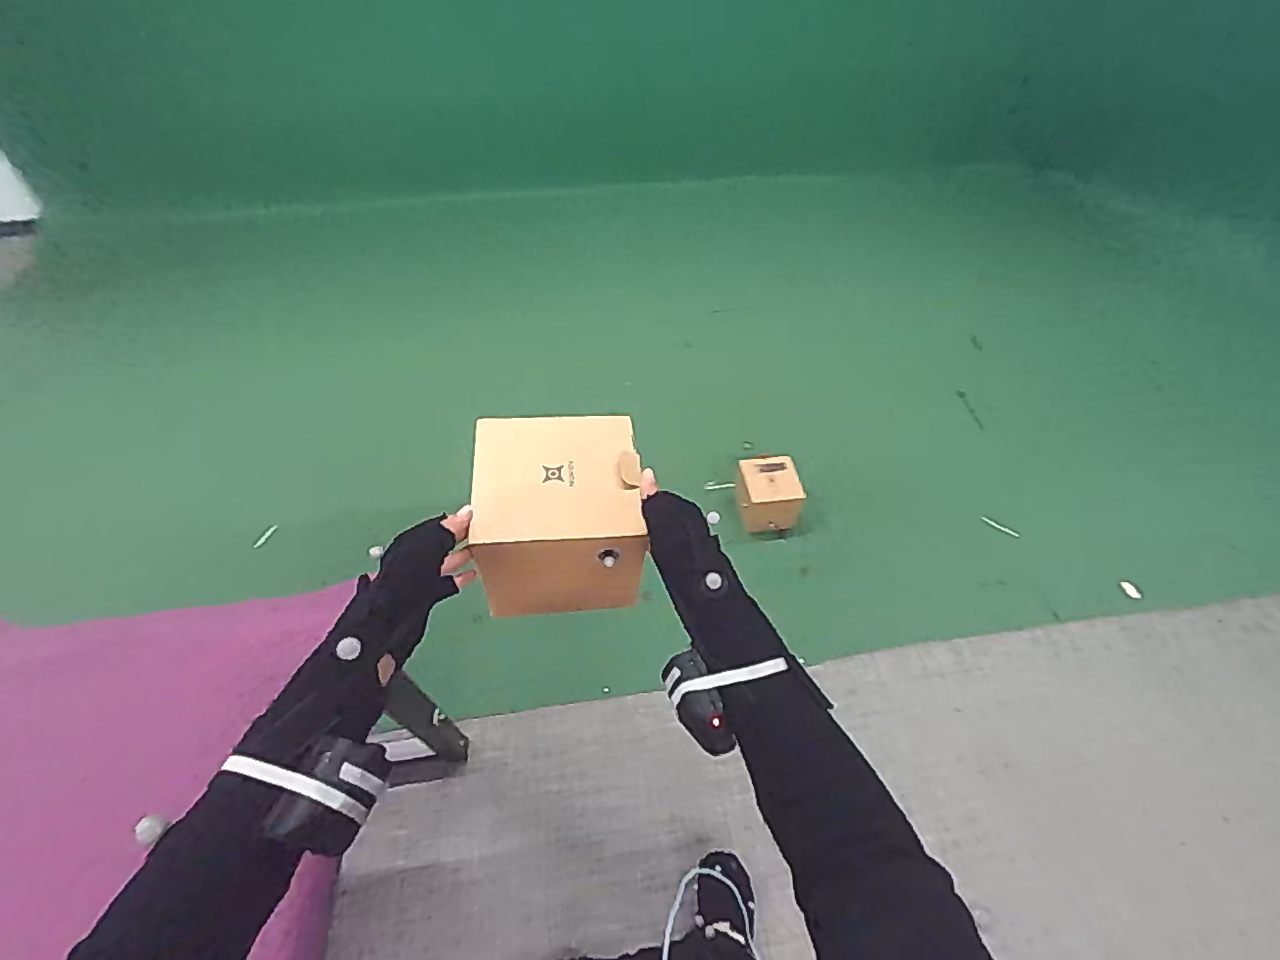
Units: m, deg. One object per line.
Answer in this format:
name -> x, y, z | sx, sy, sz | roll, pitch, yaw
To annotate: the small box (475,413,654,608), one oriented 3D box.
small box -> -0.085, 0.039, 0.631 | 0.179, 0.176, 0.168 | -2, 52, -8
